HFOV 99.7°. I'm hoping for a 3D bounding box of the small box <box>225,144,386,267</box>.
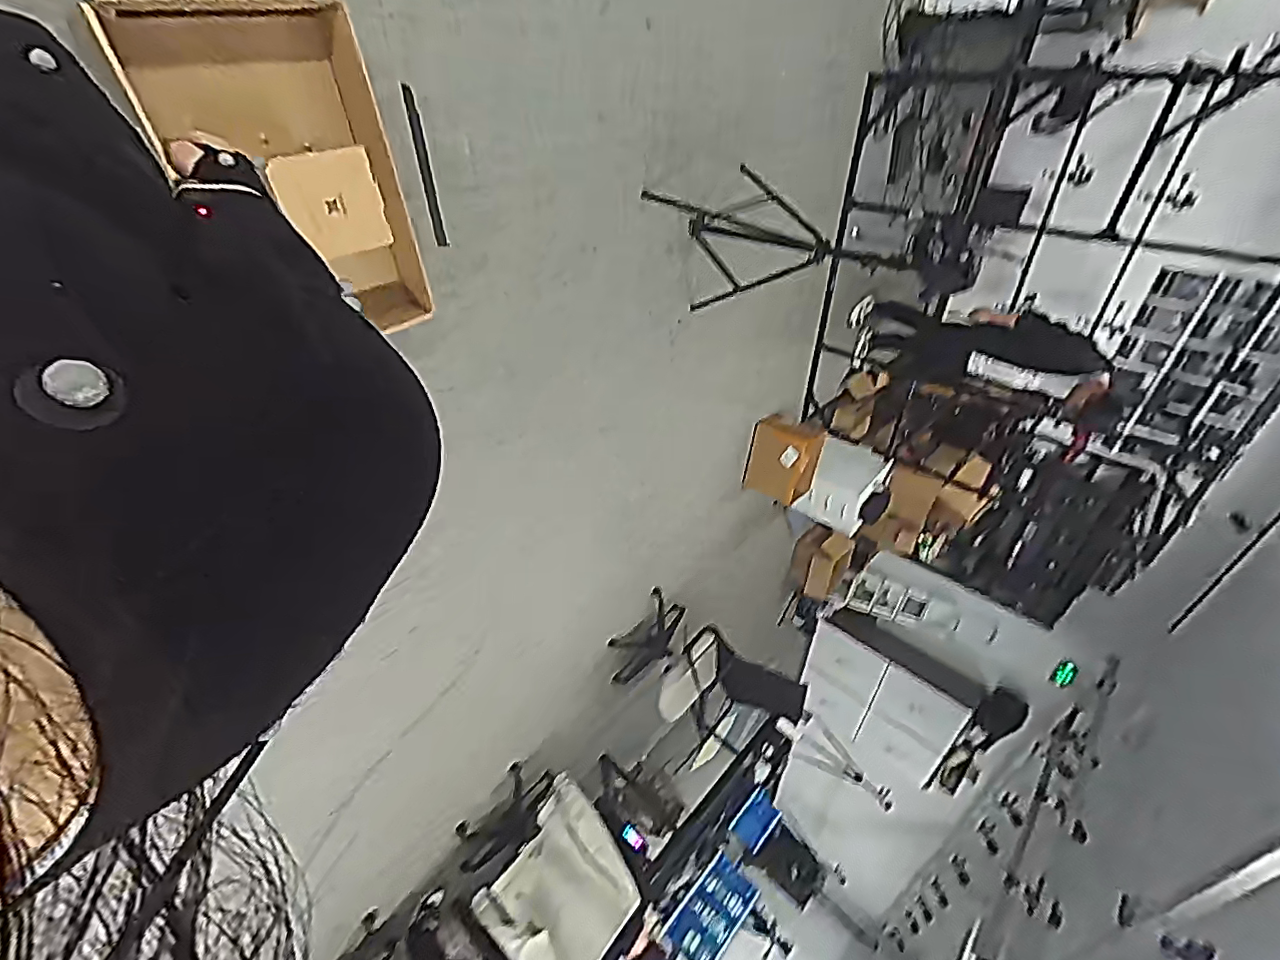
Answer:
[{"bbox_3d":[-0.618,-0.517,1.006,0.179,0.176,0.168,-36,138,-33],"label":"small box"}]
